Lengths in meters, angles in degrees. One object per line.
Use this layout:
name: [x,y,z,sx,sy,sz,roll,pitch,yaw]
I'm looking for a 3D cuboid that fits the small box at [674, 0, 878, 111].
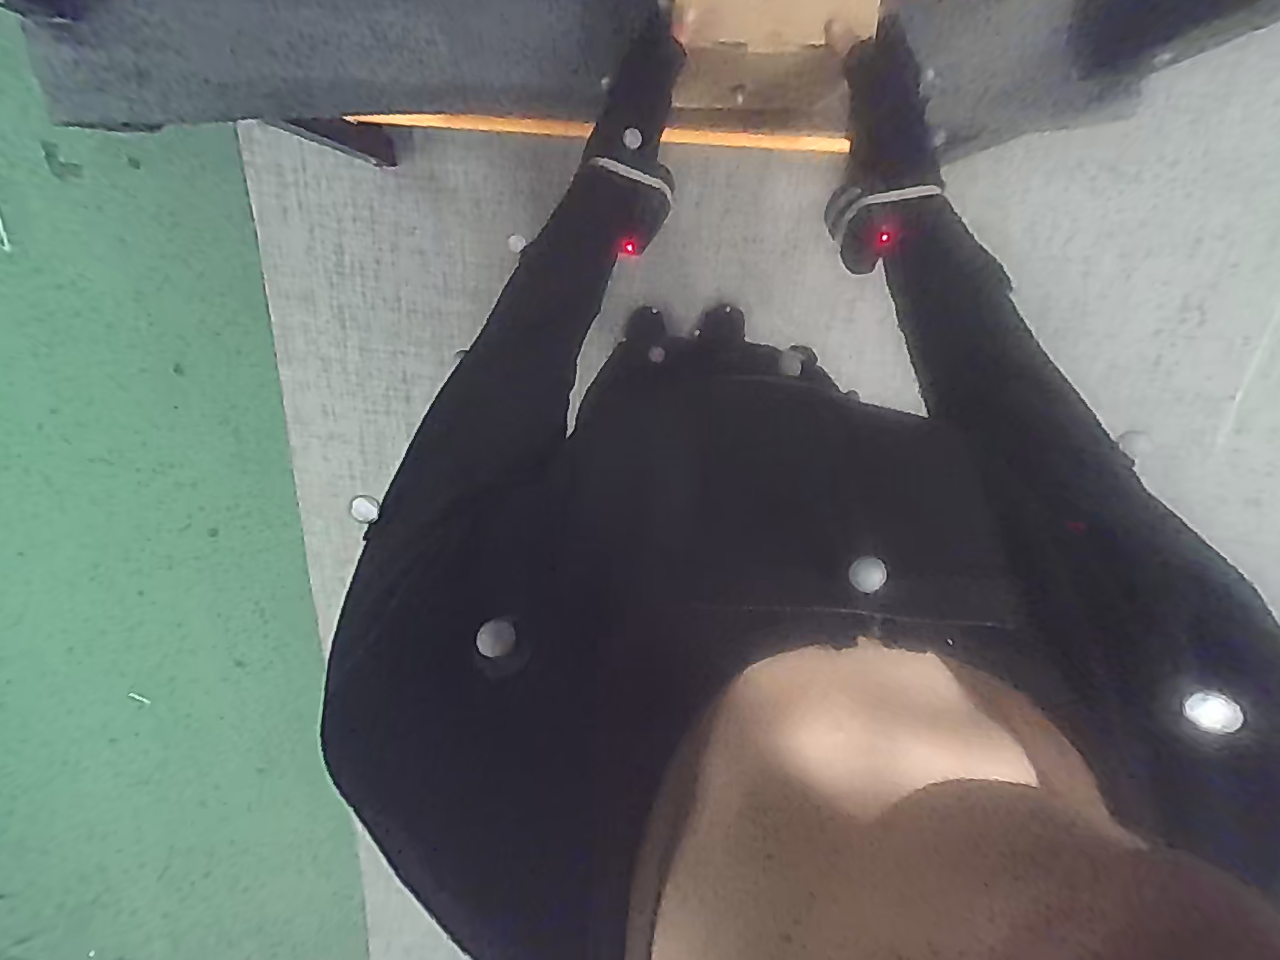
small box: [0.119,-0.472,0.500,0.168,0.176,0.179,3,110,2]
